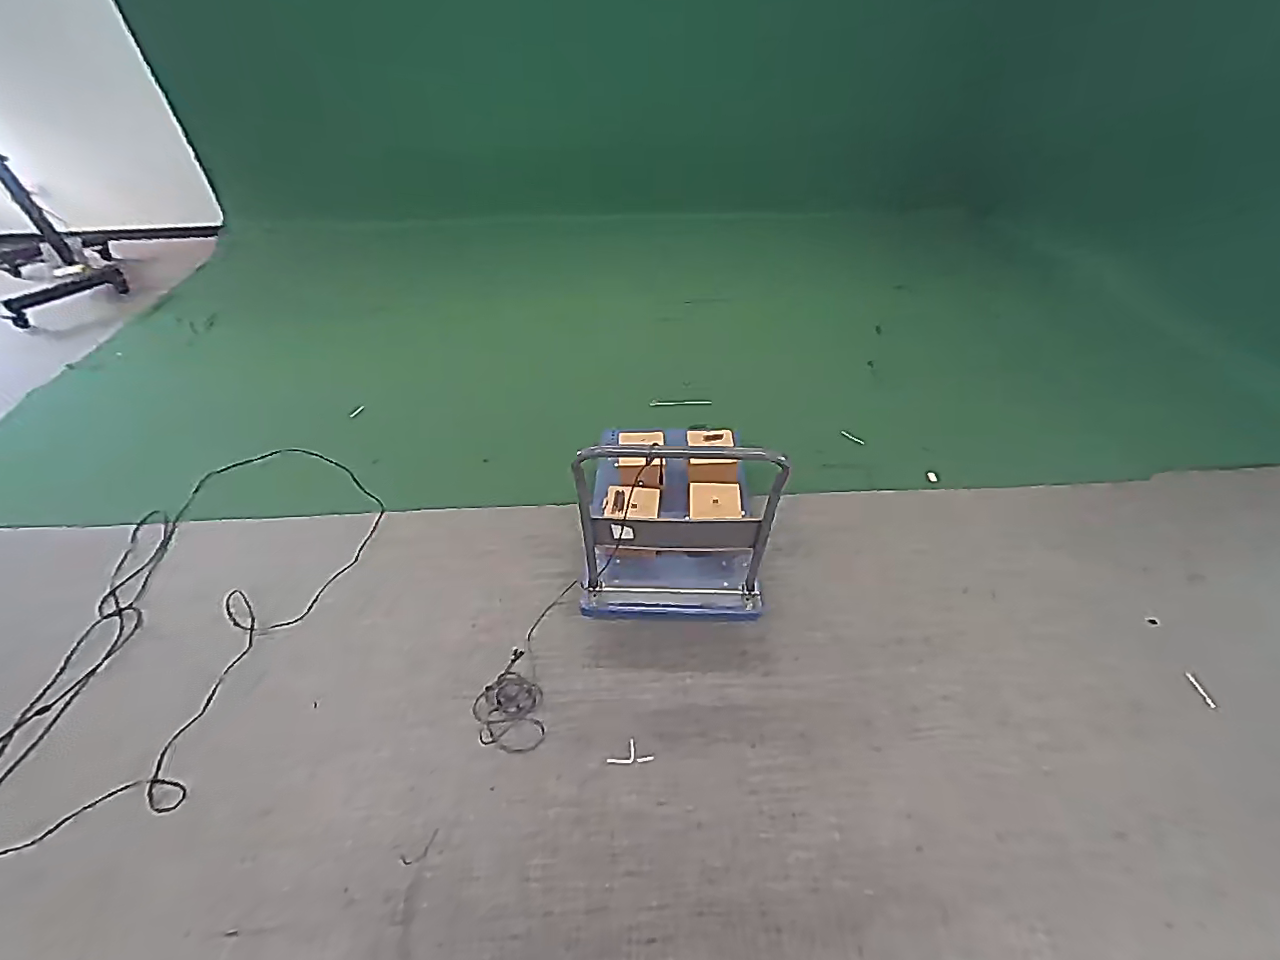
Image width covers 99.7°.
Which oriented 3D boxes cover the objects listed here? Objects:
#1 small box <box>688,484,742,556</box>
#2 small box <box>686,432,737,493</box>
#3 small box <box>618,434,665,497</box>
[{"bbox_3d":[0.248,0.135,1.816,0.168,0.176,0.179,1,46,3],"label":"small box"},{"bbox_3d":[0.259,-0.059,2.004,0.168,0.176,0.179,-2,46,1],"label":"small box"},{"bbox_3d":[0.007,-0.050,2.003,0.168,0.176,0.179,-1,46,-1],"label":"small box"}]
